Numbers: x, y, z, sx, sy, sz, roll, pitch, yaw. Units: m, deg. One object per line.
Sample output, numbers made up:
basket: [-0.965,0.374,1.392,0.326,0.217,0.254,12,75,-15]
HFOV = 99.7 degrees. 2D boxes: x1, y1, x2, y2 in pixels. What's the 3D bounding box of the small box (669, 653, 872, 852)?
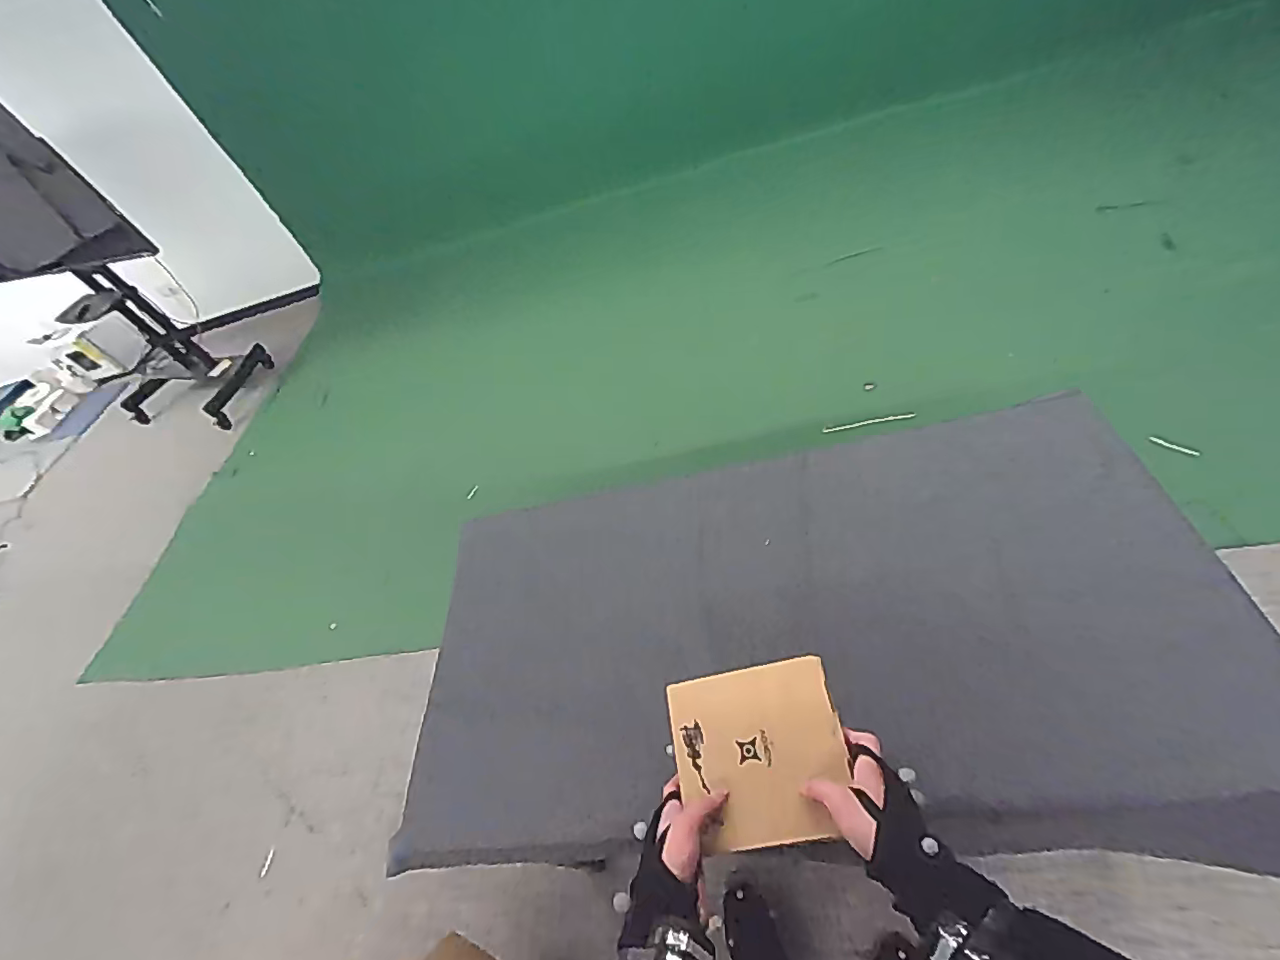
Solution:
small box: [0.144,0.314,0.615,0.179,0.176,0.168,-15,53,11]
